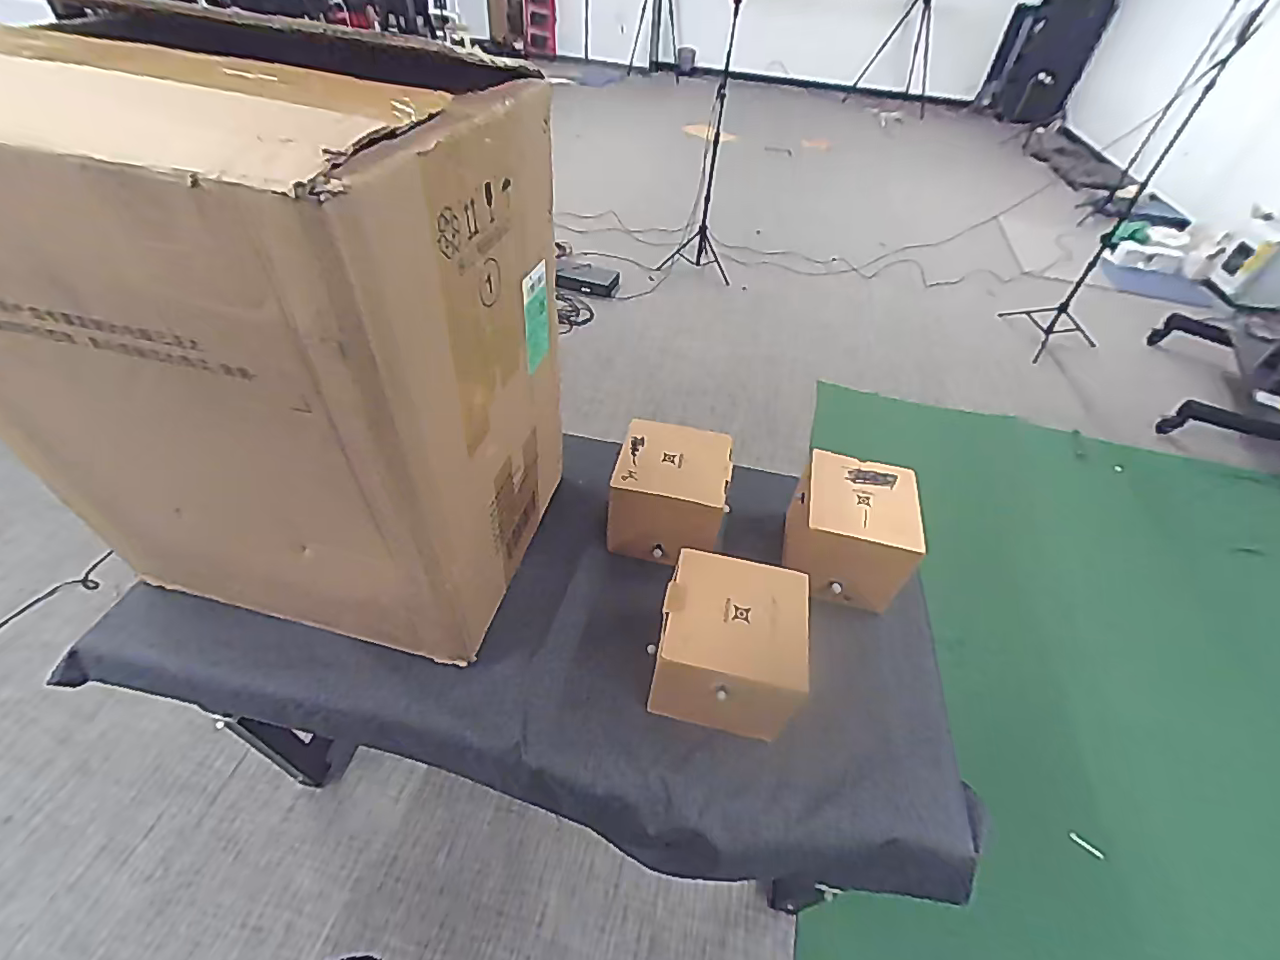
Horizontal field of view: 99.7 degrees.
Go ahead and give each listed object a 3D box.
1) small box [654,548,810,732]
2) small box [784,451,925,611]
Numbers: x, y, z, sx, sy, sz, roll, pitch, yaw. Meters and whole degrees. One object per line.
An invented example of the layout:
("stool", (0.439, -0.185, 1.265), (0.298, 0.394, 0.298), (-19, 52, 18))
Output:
("small box", (0.122, 0.221, 0.739), (0.179, 0.176, 0.168), (12, 47, 5))
("small box", (0.341, 0.084, 0.891), (0.168, 0.176, 0.179), (13, 47, 7))
